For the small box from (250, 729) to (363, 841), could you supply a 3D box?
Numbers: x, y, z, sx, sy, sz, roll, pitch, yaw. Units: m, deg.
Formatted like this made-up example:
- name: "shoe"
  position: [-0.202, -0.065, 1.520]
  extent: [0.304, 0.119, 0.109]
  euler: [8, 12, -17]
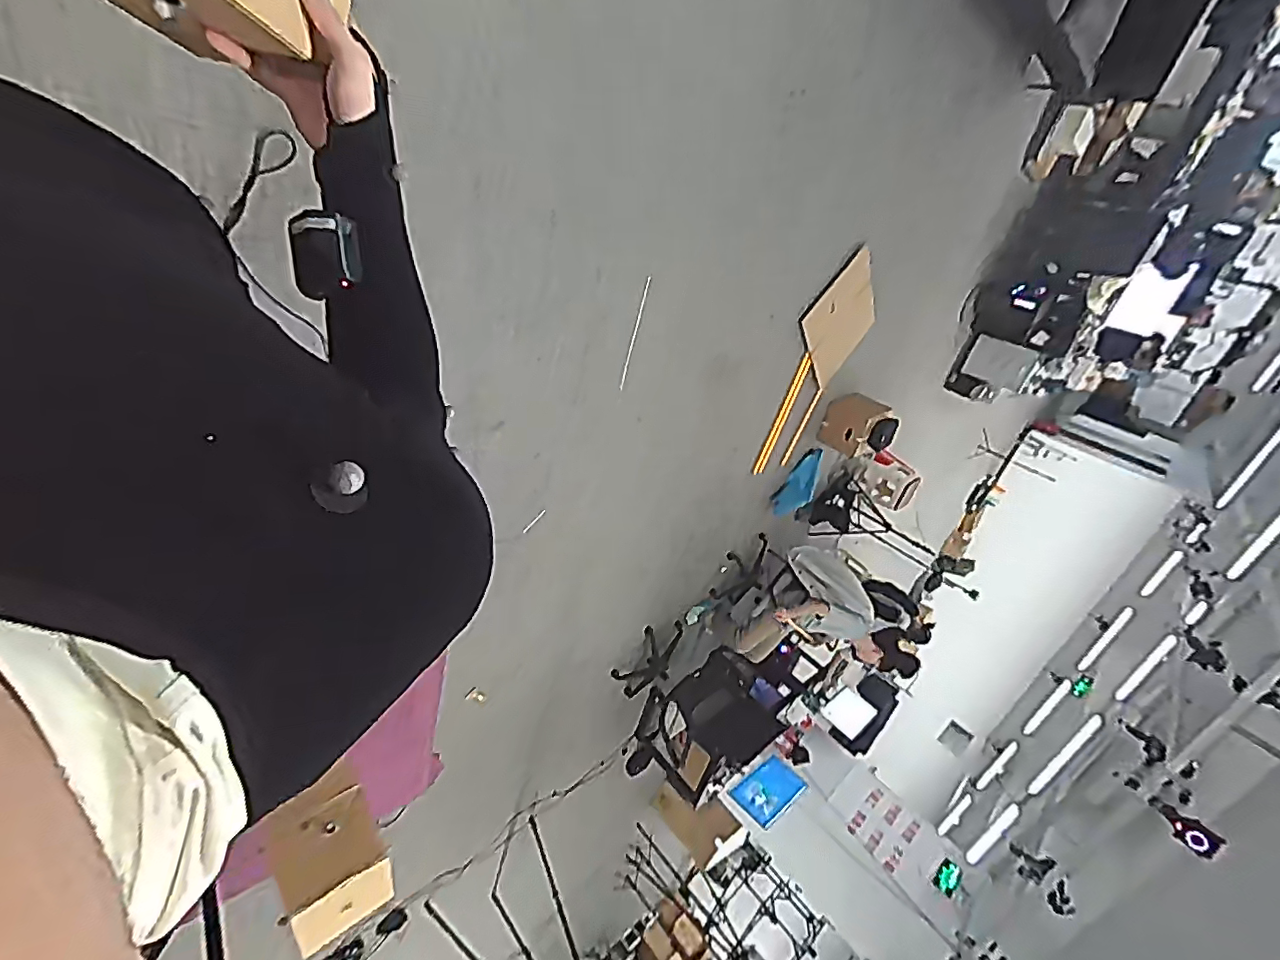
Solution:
- name: "small box"
  position: [-0.699, 0.671, 1.140]
  extent: [0.168, 0.176, 0.179]
  euler: [-15, 130, -41]

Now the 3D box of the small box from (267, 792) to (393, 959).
- name: "small box"
  position: [-0.596, 0.753, 1.045]
  extent: [0.168, 0.176, 0.179]
  euler: [-17, 130, -39]

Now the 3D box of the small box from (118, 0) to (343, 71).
- name: "small box"
  position: [-0.340, -0.444, 0.386]
  extent: [0.179, 0.176, 0.168]
  euler: [-20, 127, -74]
